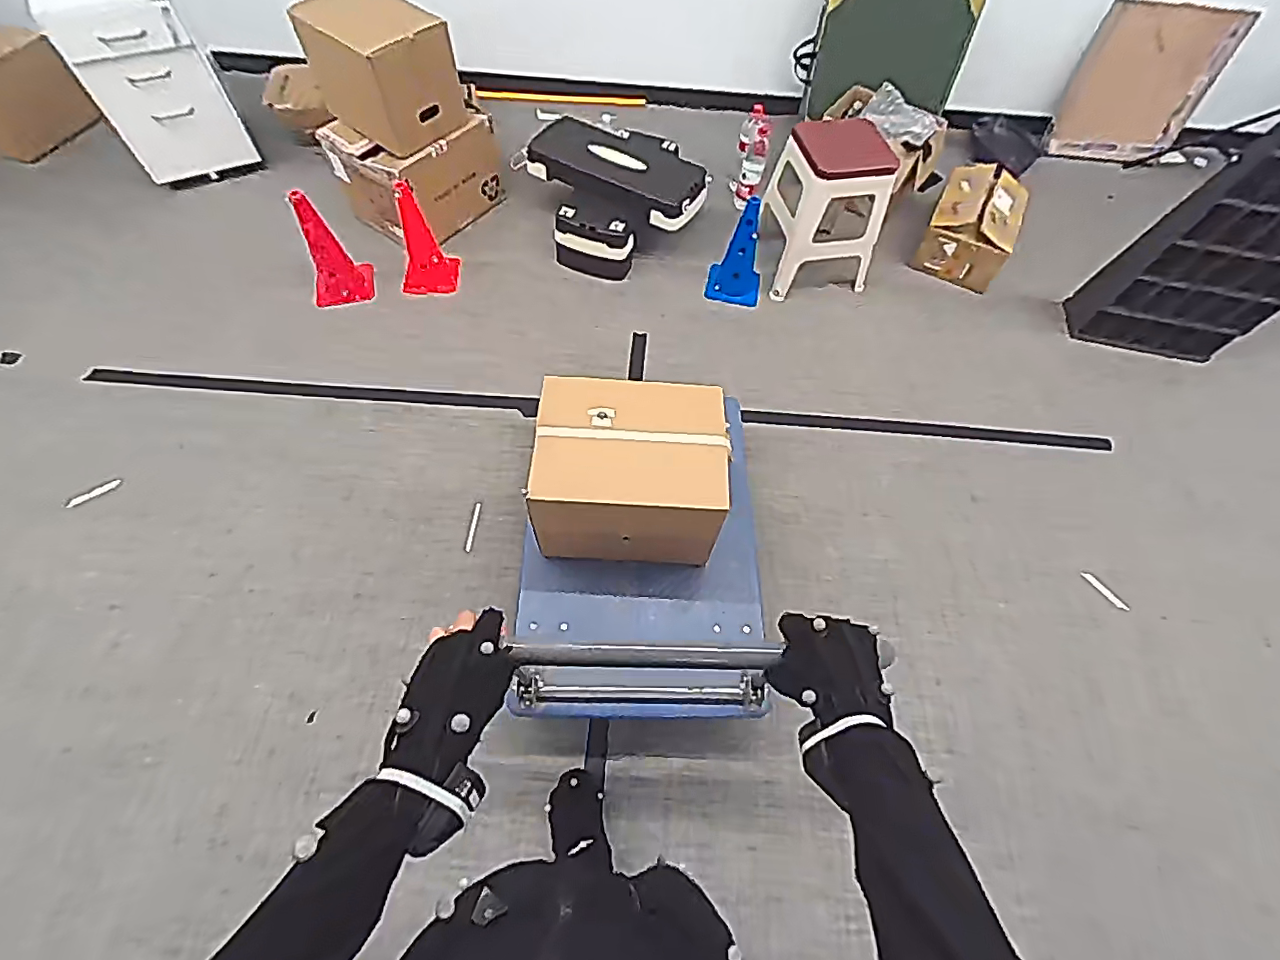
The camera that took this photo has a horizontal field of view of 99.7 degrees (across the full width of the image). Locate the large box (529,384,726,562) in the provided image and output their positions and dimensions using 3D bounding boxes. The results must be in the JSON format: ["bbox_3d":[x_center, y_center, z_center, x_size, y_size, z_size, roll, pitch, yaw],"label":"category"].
[{"bbox_3d":[-0.024,-0.005,1.282,0.408,0.320,0.320,3,60,-1],"label":"large box"}]
